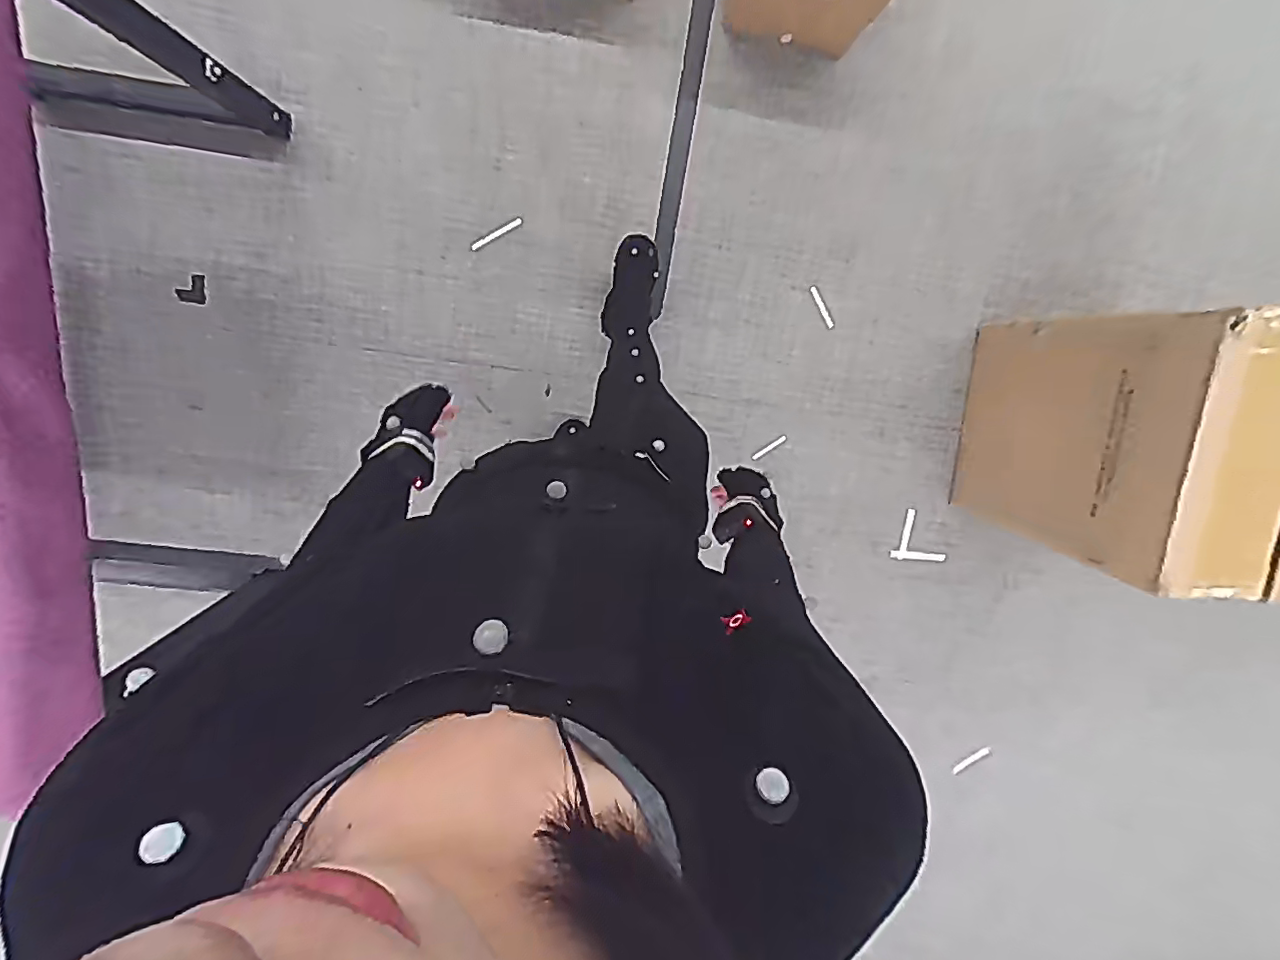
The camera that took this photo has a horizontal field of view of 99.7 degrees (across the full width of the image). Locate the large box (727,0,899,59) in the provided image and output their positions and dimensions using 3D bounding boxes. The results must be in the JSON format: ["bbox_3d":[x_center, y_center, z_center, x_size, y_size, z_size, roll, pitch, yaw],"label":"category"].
[{"bbox_3d":[0.391,-1.188,1.101,0.320,0.320,0.408,8,104,-6],"label":"large box"}]
